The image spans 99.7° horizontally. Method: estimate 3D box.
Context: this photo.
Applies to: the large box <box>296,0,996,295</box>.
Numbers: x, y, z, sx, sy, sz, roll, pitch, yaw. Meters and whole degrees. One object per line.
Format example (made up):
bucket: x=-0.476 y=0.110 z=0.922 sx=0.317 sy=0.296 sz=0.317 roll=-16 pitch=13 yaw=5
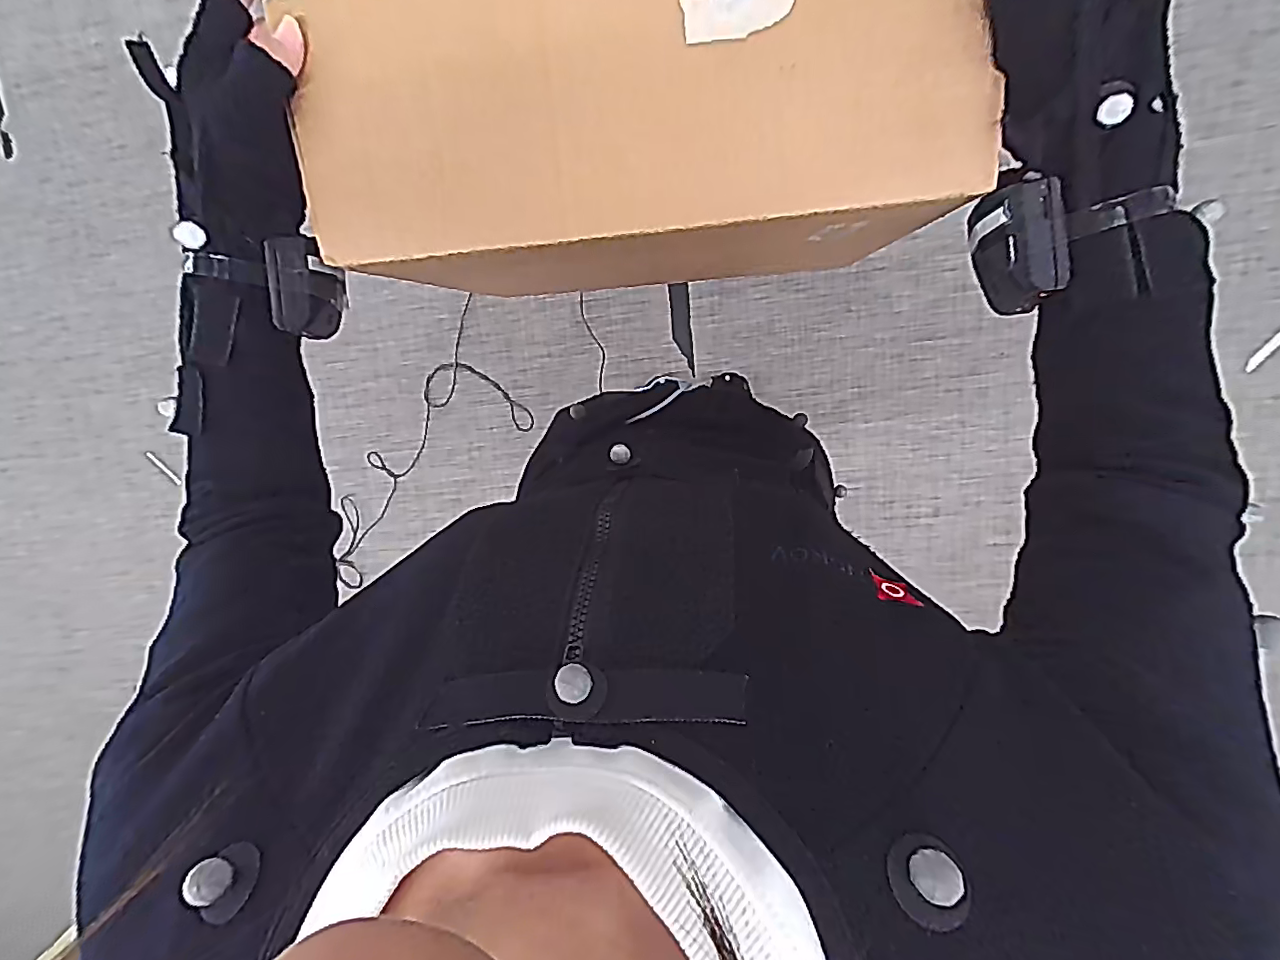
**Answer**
large box: x=0.004 y=-0.344 z=0.441 sx=0.408 sy=0.320 sz=0.320 roll=-3 pitch=105 yaw=7
